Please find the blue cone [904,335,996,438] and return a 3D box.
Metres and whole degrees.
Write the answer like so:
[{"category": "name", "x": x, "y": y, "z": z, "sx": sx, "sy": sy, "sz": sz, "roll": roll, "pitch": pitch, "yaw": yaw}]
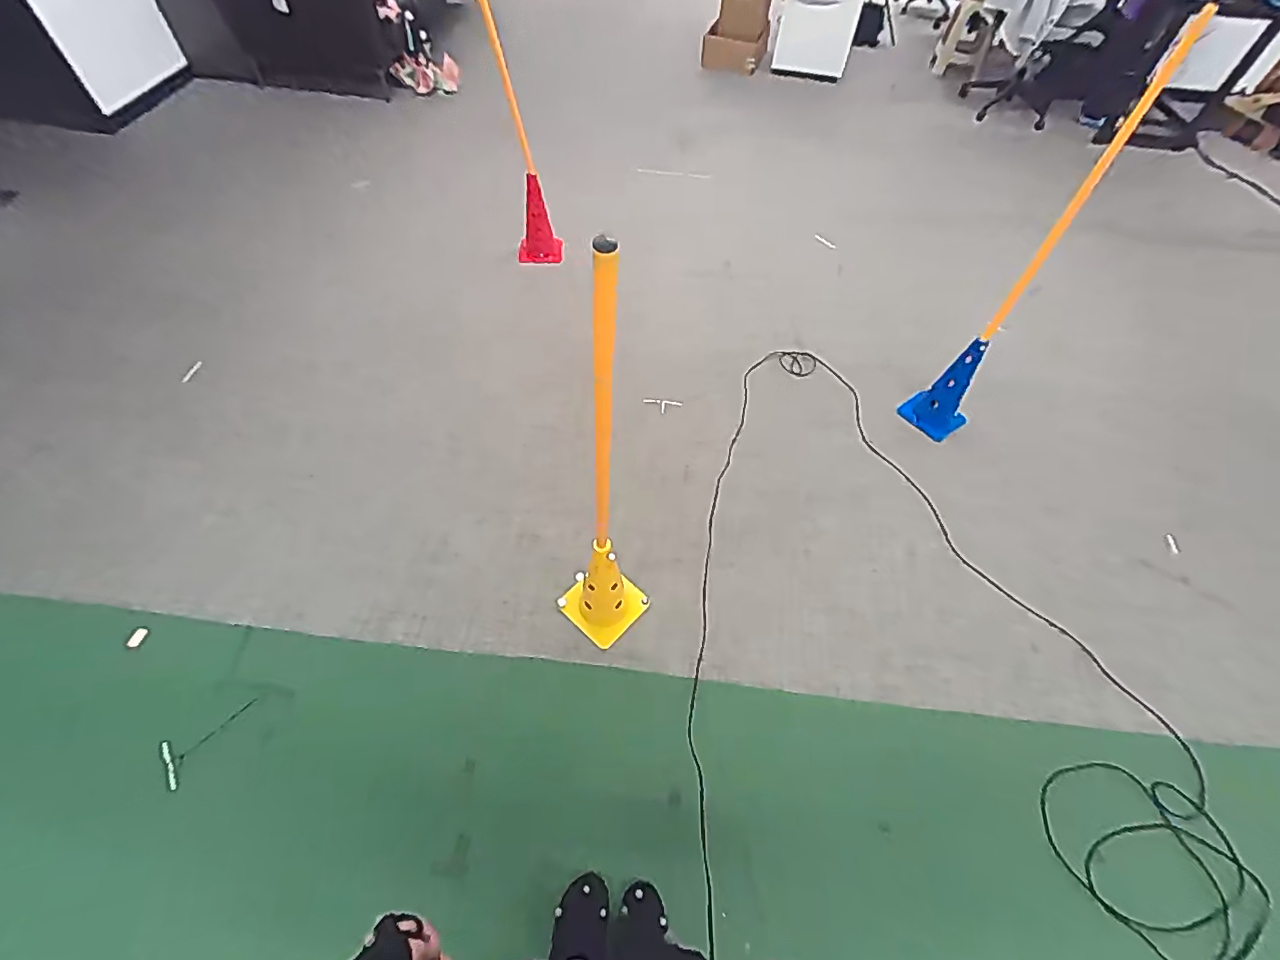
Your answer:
[{"category": "blue cone", "x": 1.115, "y": -0.350, "z": 1.899, "sx": 0.193, "sy": 0.380, "sz": 0.192, "roll": -31, "pitch": 61, "yaw": -26}]
